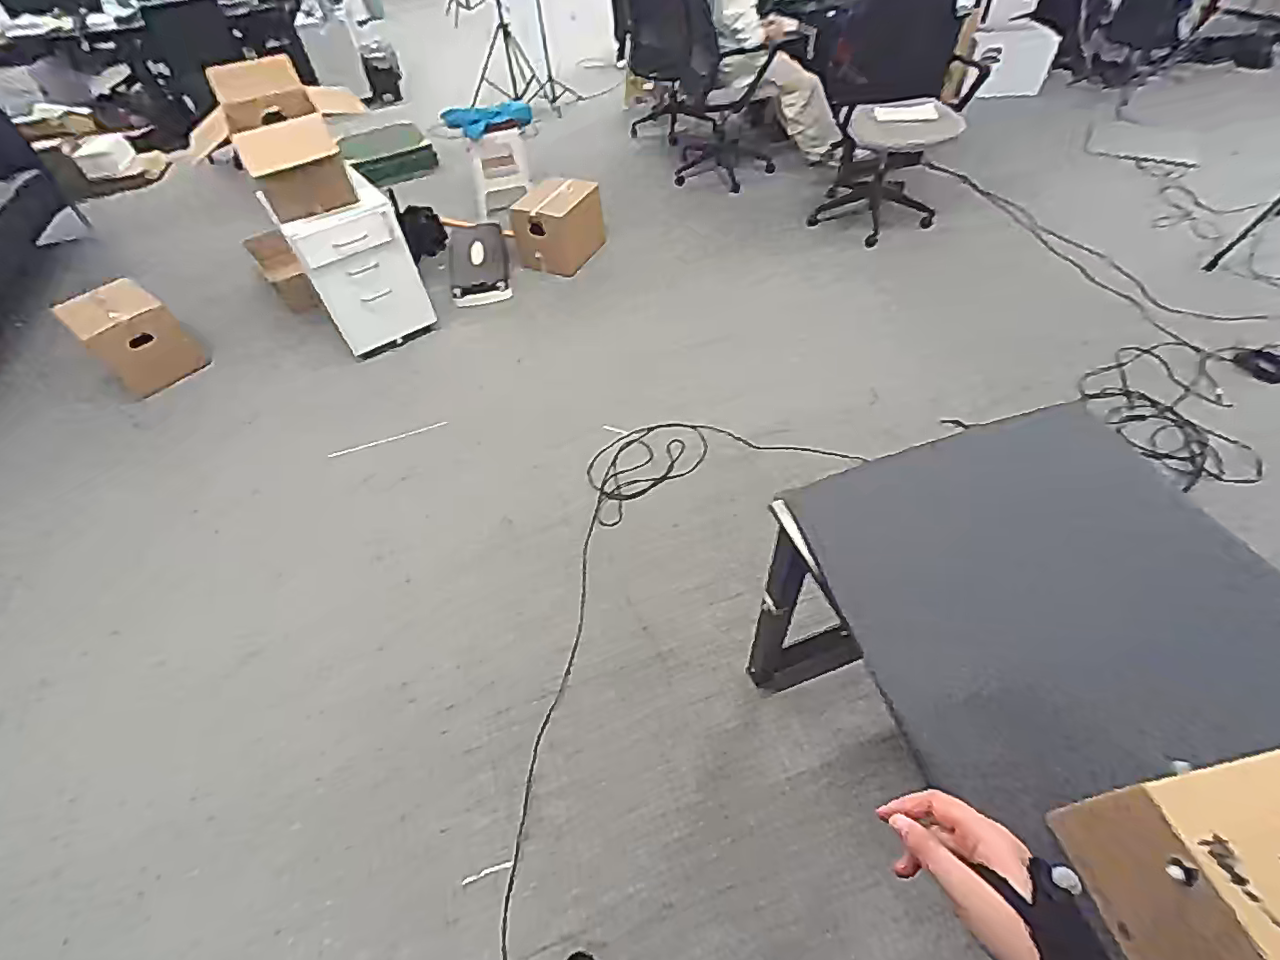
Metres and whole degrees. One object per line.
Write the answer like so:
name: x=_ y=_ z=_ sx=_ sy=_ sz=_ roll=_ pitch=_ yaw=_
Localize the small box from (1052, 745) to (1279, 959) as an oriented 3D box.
small box: x=0.554 y=0.368 z=0.510 sx=0.179 sy=0.176 sz=0.168 roll=-9 pitch=50 yaw=-6
